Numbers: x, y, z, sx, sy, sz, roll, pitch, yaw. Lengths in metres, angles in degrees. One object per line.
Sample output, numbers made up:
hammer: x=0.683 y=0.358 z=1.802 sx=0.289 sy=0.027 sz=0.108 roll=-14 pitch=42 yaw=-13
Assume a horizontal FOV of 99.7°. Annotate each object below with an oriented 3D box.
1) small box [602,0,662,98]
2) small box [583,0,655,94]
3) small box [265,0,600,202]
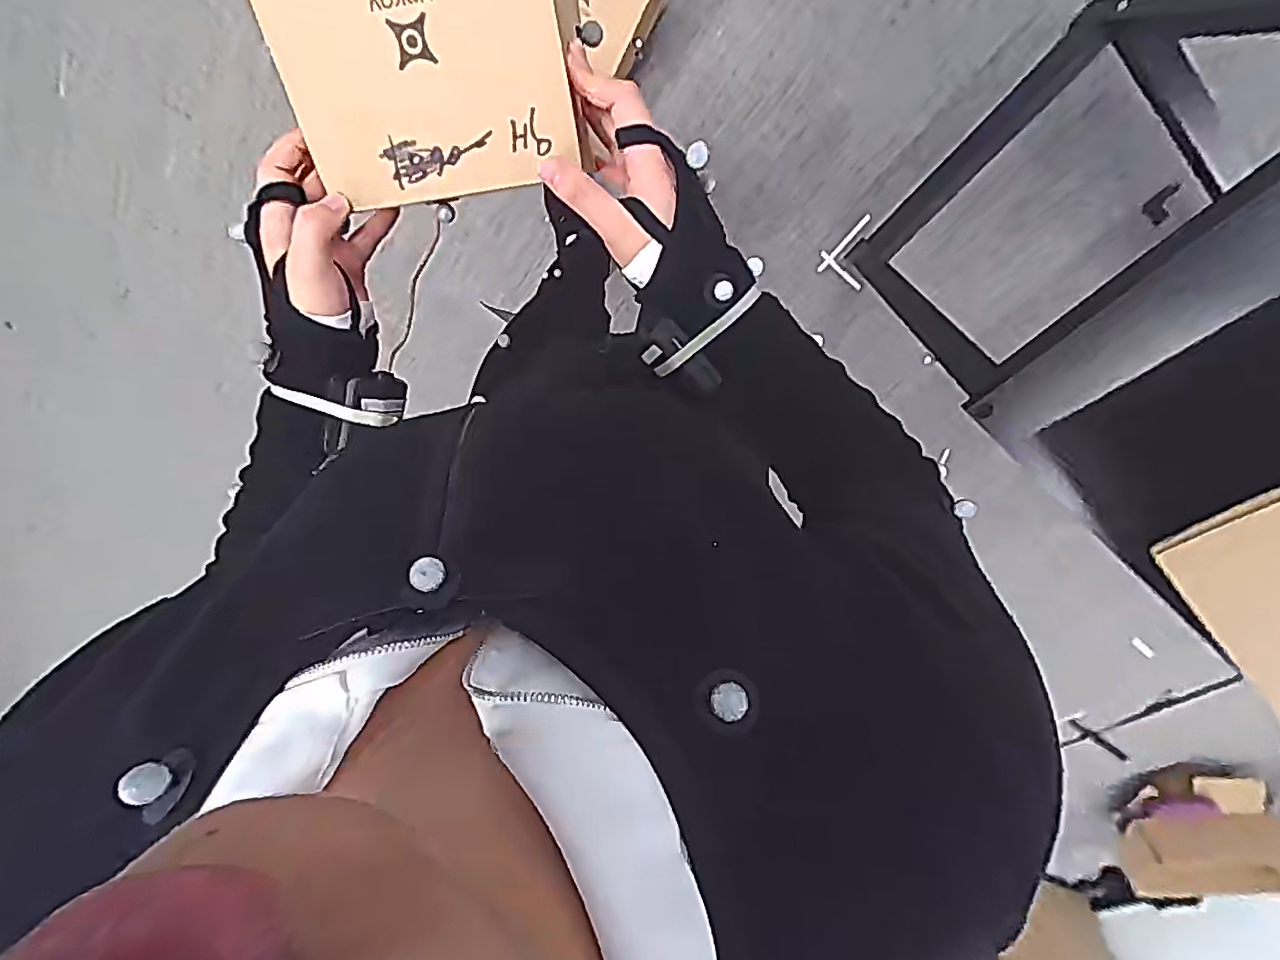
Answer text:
small box: x=-0.072 y=-0.833 z=0.973 sx=0.168 sy=0.176 sz=0.179 roll=30 pitch=124 yaw=-17
small box: x=-0.079 y=-0.740 z=0.840 sx=0.168 sy=0.176 sz=0.179 roll=26 pitch=123 yaw=-17
small box: x=-0.124 y=-0.299 z=0.371 sx=0.168 sy=0.176 sz=0.179 roll=-5 pitch=119 yaw=4
